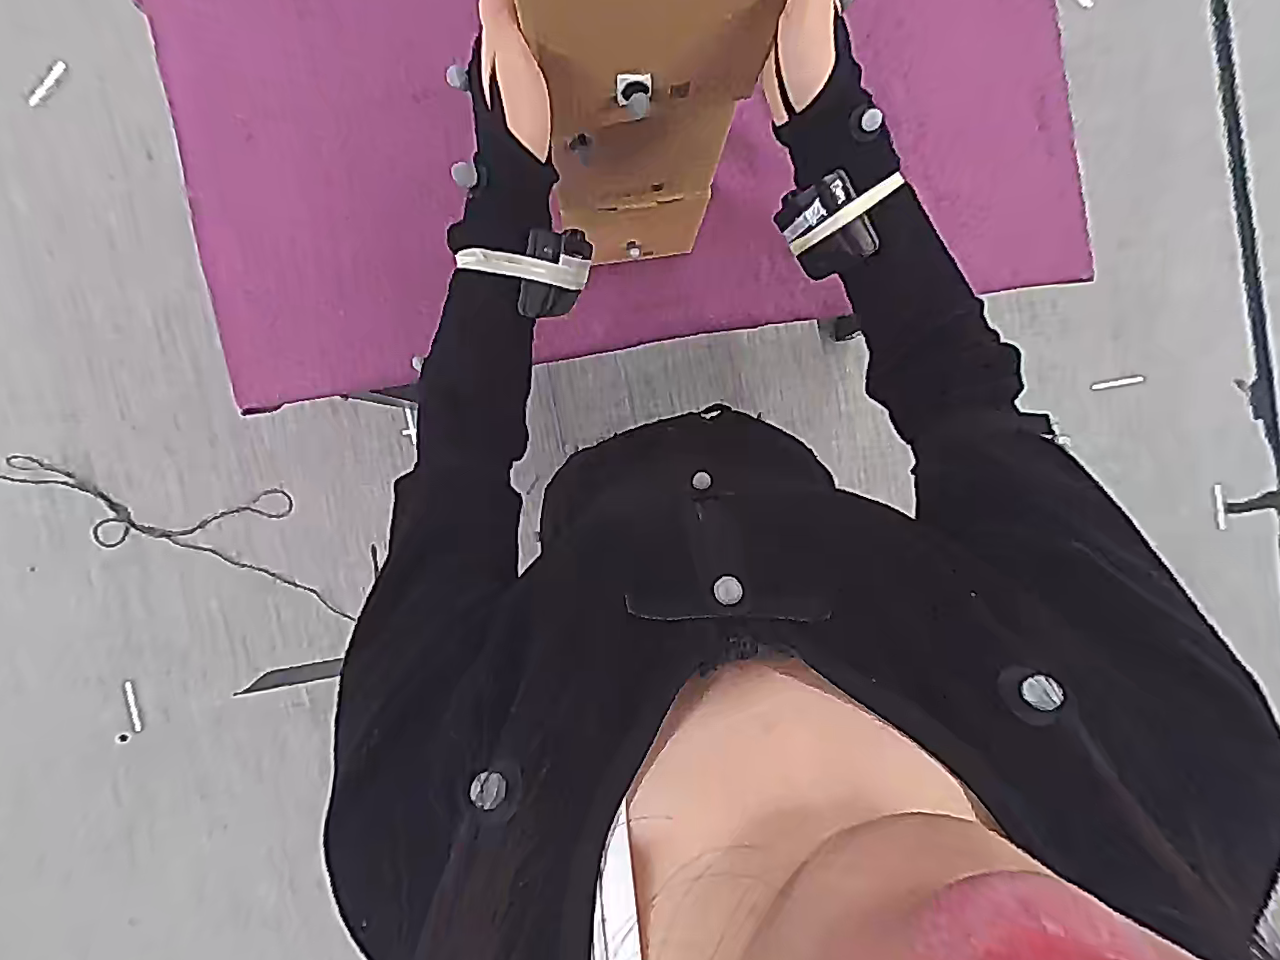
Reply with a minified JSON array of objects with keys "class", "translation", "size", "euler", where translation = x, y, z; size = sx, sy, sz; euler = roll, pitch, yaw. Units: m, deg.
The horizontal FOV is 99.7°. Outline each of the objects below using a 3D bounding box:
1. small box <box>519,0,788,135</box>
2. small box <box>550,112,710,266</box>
[{"class":"small box","translation":[-0.004,-0.362,0.337],"size":[0.168,0.176,0.179],"euler":[-13,93,-1]},{"class":"small box","translation":[-0.019,-0.387,0.663],"size":[0.168,0.176,0.179],"euler":[-8,93,-2]}]
